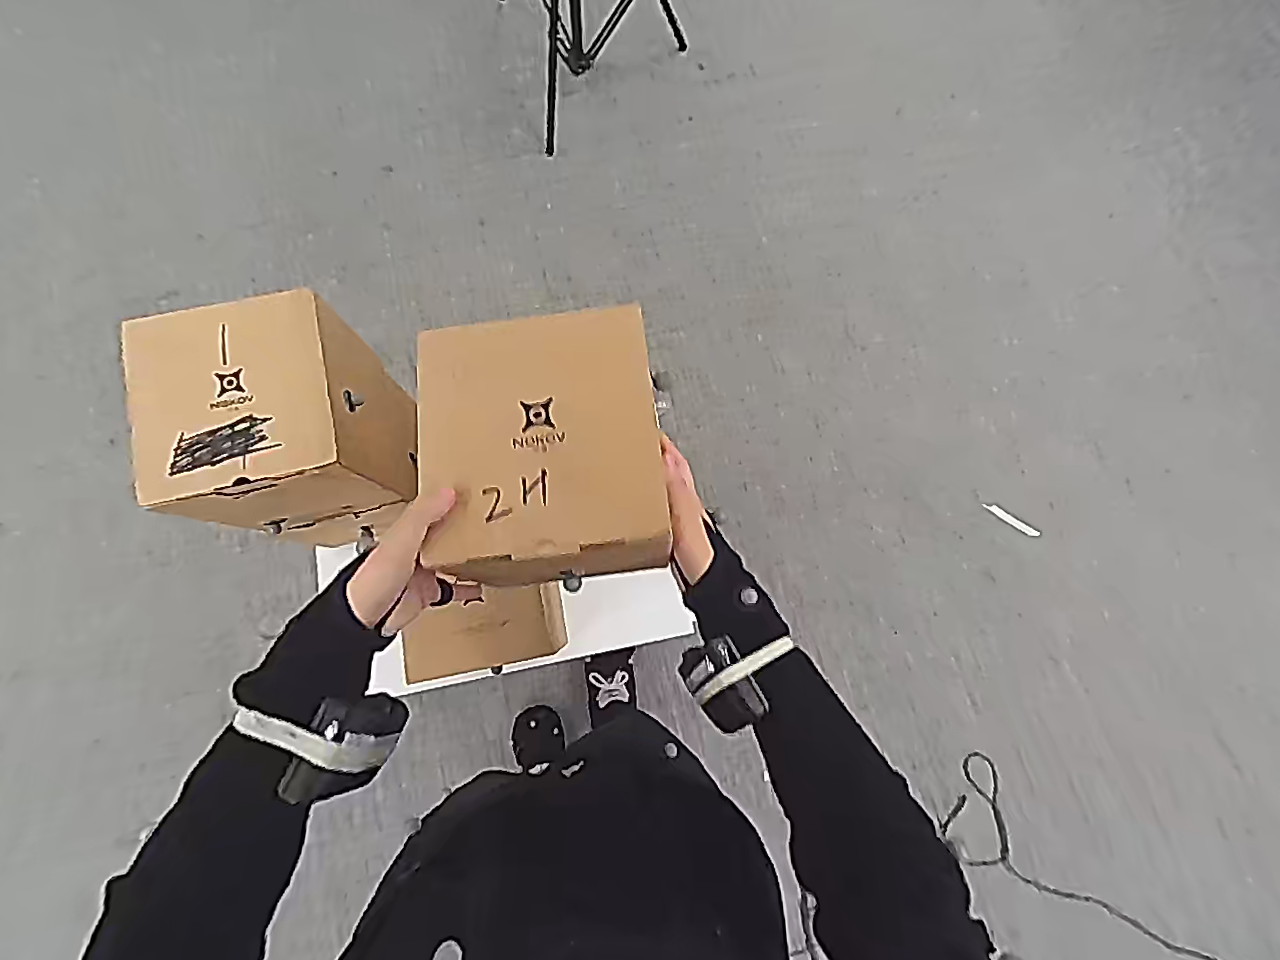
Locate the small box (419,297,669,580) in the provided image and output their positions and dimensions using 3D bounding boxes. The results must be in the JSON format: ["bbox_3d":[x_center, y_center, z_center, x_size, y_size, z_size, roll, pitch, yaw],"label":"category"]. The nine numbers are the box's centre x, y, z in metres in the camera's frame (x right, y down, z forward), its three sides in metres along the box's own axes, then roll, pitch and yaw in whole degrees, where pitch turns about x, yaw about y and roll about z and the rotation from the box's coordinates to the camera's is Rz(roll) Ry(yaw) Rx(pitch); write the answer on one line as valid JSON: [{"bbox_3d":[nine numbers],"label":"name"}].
[{"bbox_3d":[-0.069,-0.021,0.453,0.168,0.176,0.179,-8,73,1],"label":"small box"}]

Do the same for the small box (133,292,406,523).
[{"bbox_3d":[-0.360,-0.059,0.556,0.168,0.176,0.179,-14,79,-6],"label":"small box"}]
